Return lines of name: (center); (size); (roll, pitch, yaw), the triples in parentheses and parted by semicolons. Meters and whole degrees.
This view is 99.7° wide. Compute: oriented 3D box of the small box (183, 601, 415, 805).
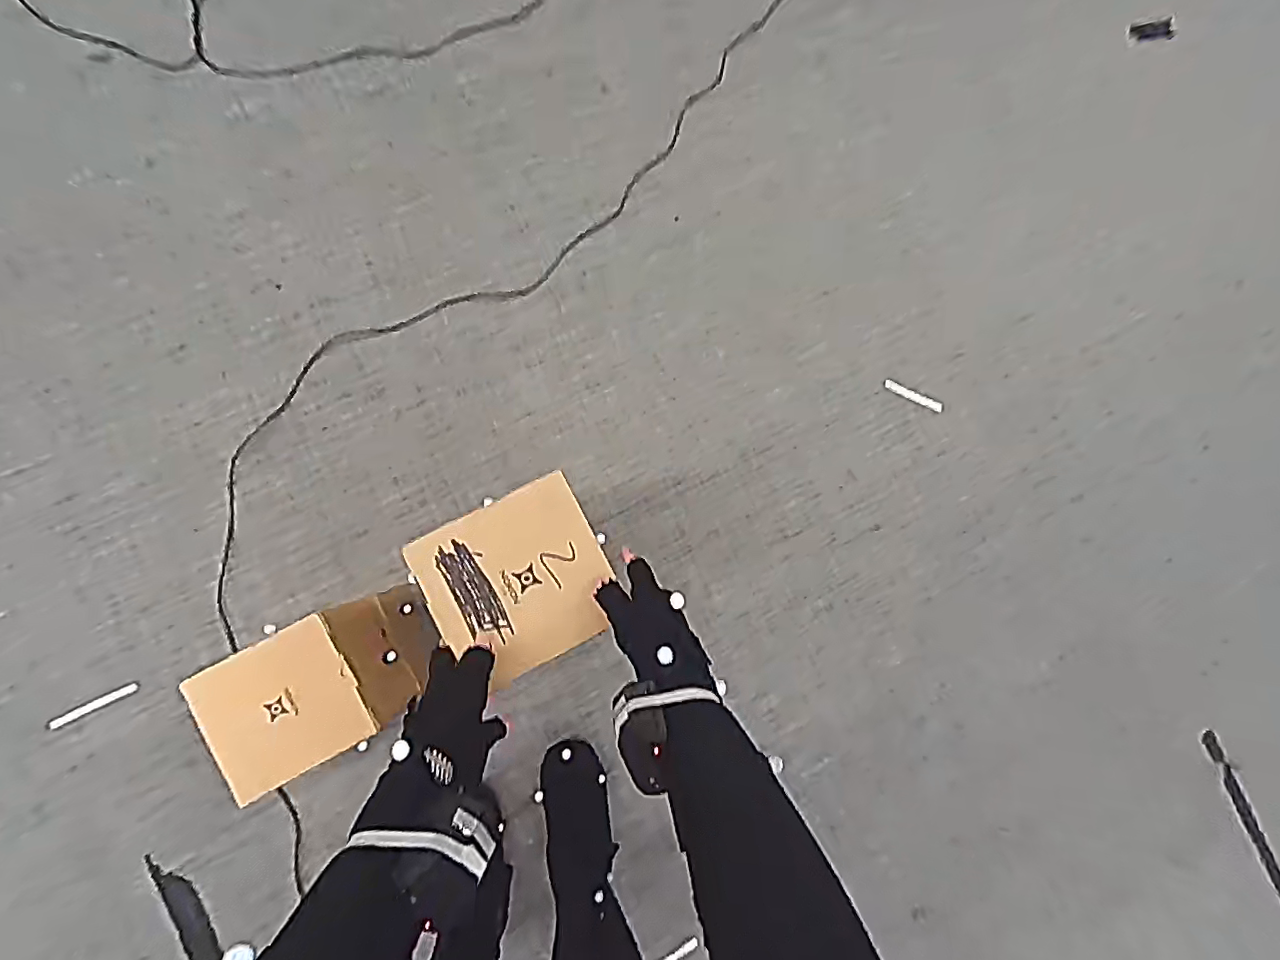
small box: (-0.437, 0.281, 0.725); (0.179, 0.176, 0.168); (-28, 88, -8)

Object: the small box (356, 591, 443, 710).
small box: (-0.449, 0.292, 0.887); (0.168, 0.176, 0.179); (-24, 88, -8)

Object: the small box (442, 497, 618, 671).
small box: (-0.150, 0.137, 0.770); (0.179, 0.176, 0.168); (-28, 88, -9)
